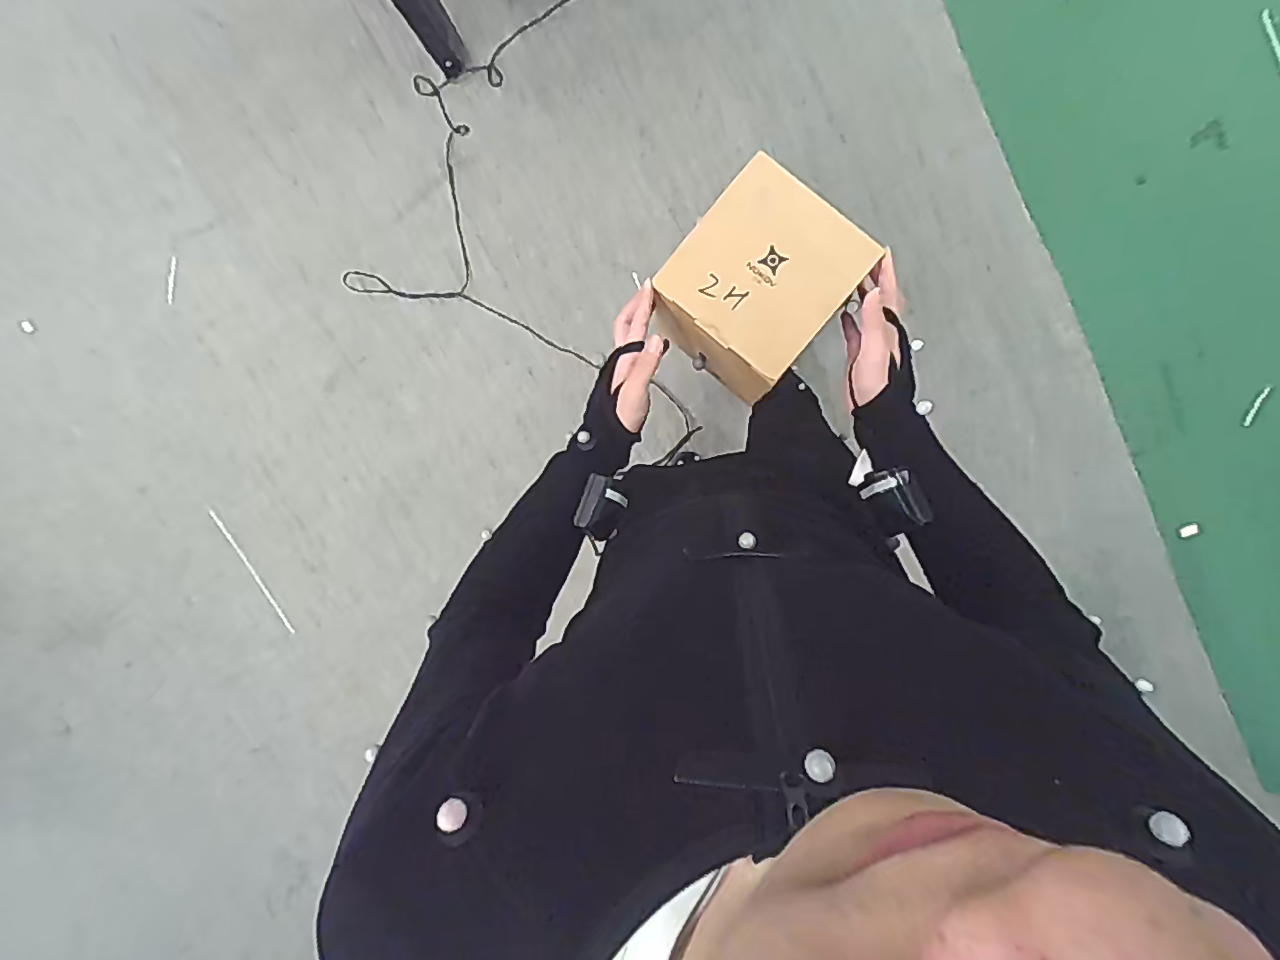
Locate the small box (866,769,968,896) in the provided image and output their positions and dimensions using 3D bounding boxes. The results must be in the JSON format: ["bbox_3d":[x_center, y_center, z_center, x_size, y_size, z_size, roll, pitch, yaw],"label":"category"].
[{"bbox_3d":[0.628,0.780,1.216,0.168,0.176,0.179,-15,98,8],"label":"small box"}]
